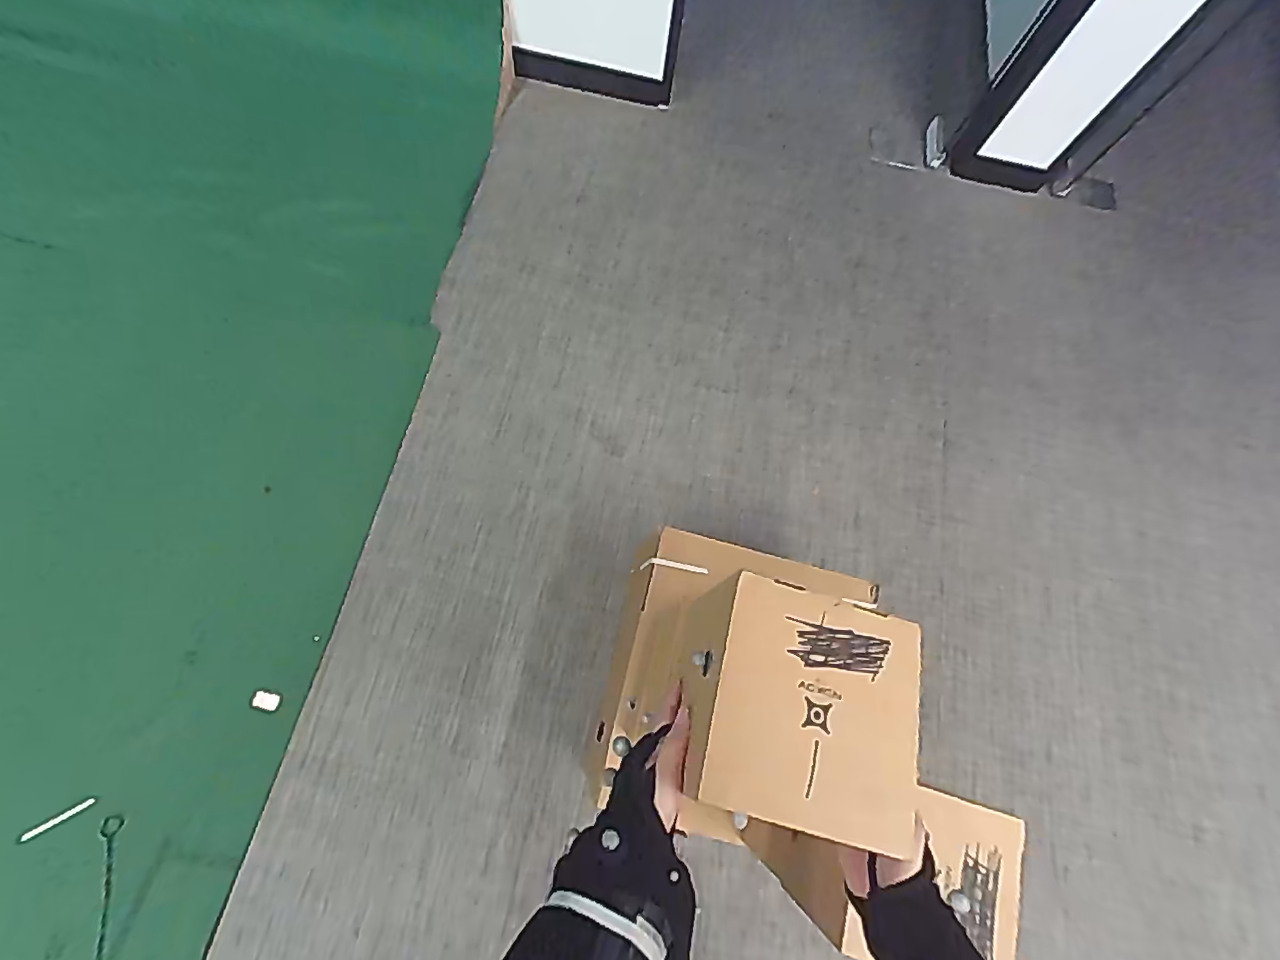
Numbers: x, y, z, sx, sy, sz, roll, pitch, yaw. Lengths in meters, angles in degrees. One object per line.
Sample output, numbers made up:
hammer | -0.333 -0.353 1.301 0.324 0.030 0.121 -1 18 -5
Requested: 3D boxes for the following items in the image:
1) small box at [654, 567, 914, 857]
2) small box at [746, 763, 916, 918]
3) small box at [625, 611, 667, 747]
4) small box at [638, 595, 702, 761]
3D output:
small box | 0.119 0.202 0.491 0.168 0.176 0.179 18 65 -3
small box | 0.263 0.467 0.769 0.168 0.176 0.179 17 69 0
small box | 0.077 0.312 0.808 0.168 0.176 0.179 15 68 0
small box | 0.098 0.255 0.656 0.168 0.176 0.179 14 70 -1
